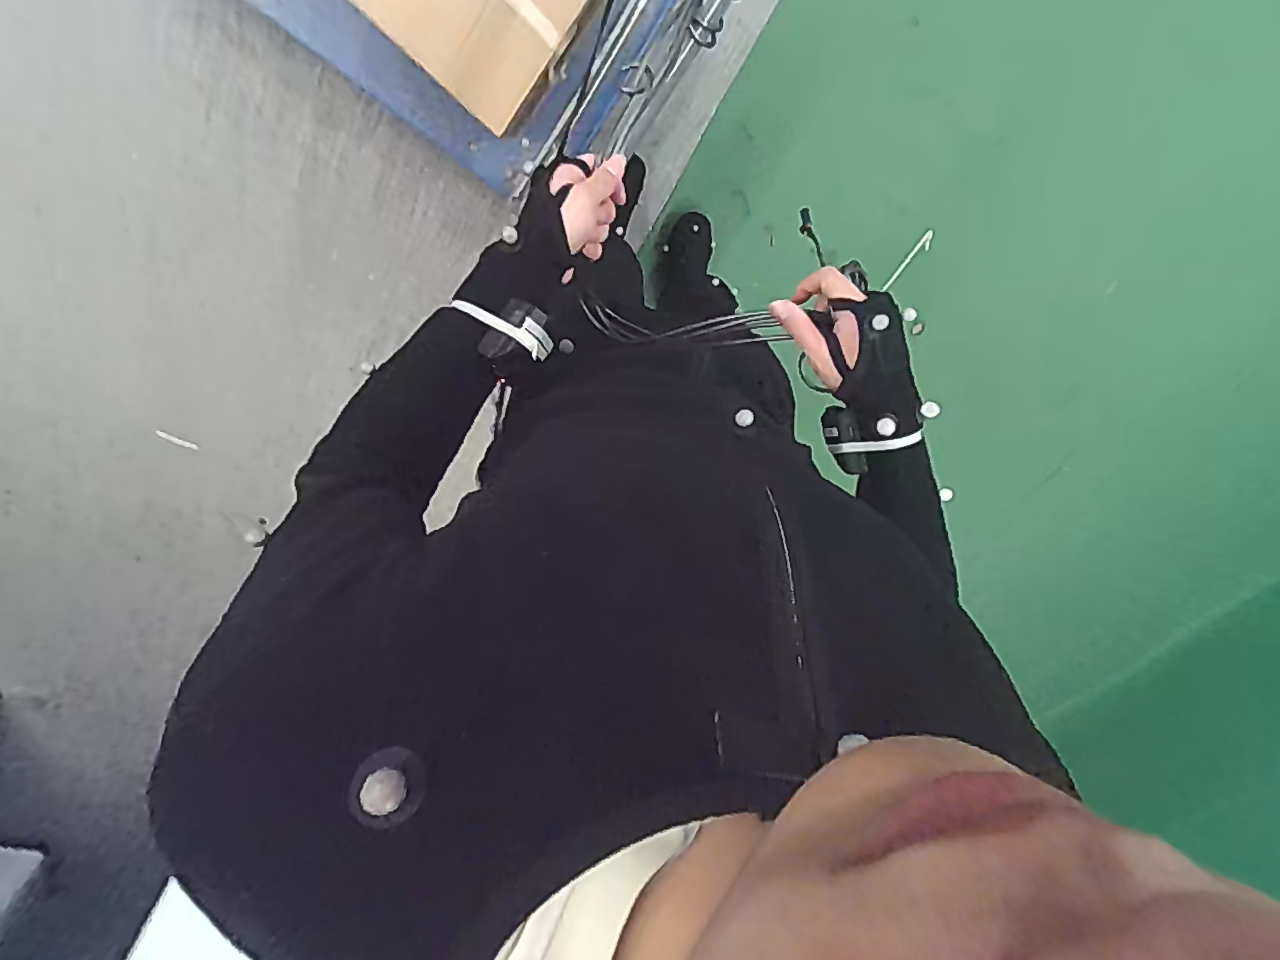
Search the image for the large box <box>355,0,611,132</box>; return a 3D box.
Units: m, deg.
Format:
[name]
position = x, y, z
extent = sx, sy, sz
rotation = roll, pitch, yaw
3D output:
[large box]
position = -0.267, -0.823, 0.832
extent = 0.408, 0.320, 0.320
rotation = 35, 114, -24
